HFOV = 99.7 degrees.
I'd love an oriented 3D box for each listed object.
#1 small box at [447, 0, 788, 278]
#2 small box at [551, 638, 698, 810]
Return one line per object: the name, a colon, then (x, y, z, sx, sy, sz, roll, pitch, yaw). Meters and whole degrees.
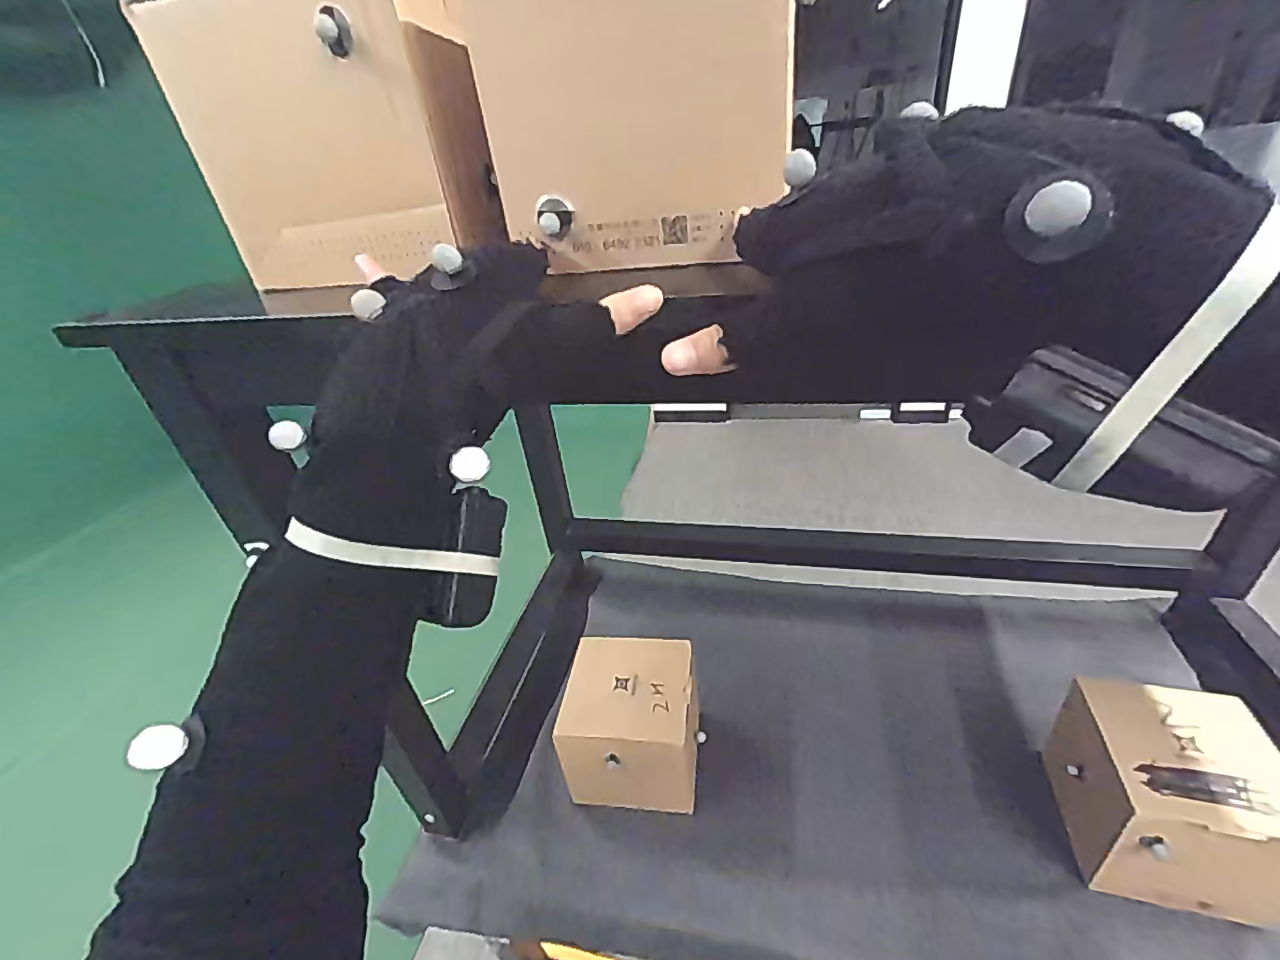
small box: (0.009, -0.234, 0.351, 0.168, 0.176, 0.179, 2, 33, 15)
small box: (-0.011, 0.356, 0.796, 0.179, 0.176, 0.168, 0, 33, 11)
